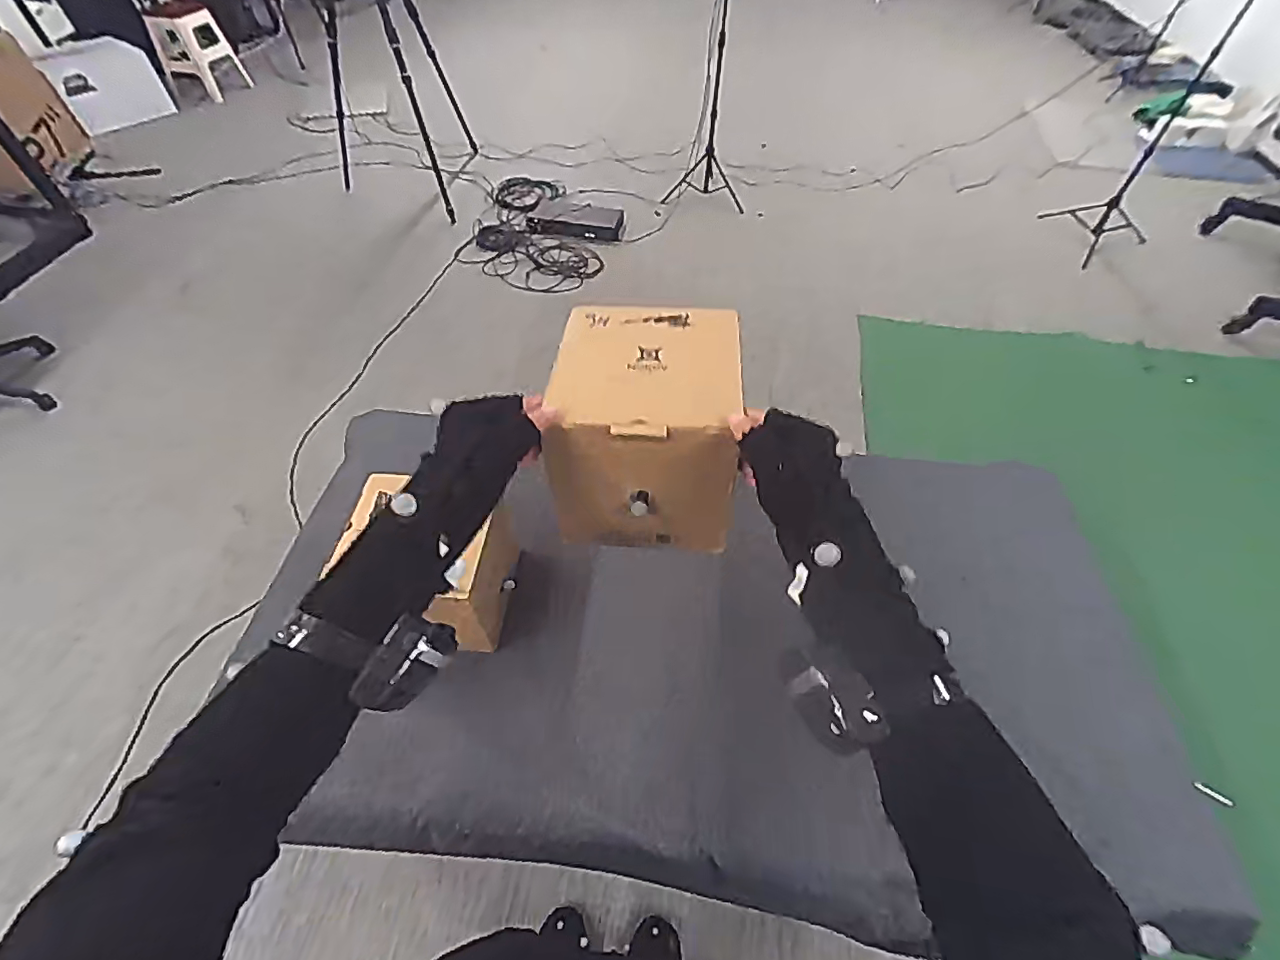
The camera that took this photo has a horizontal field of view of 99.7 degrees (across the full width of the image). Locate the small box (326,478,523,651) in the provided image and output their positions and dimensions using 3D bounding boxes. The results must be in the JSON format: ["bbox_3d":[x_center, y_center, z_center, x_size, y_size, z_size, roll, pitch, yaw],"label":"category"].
[{"bbox_3d":[-0.268,0.116,0.723,0.179,0.176,0.168,5,53,2],"label":"small box"}]

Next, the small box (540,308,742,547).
[{"bbox_3d":[0.011,-0.049,0.538,0.168,0.176,0.179,3,49,5],"label":"small box"}]
